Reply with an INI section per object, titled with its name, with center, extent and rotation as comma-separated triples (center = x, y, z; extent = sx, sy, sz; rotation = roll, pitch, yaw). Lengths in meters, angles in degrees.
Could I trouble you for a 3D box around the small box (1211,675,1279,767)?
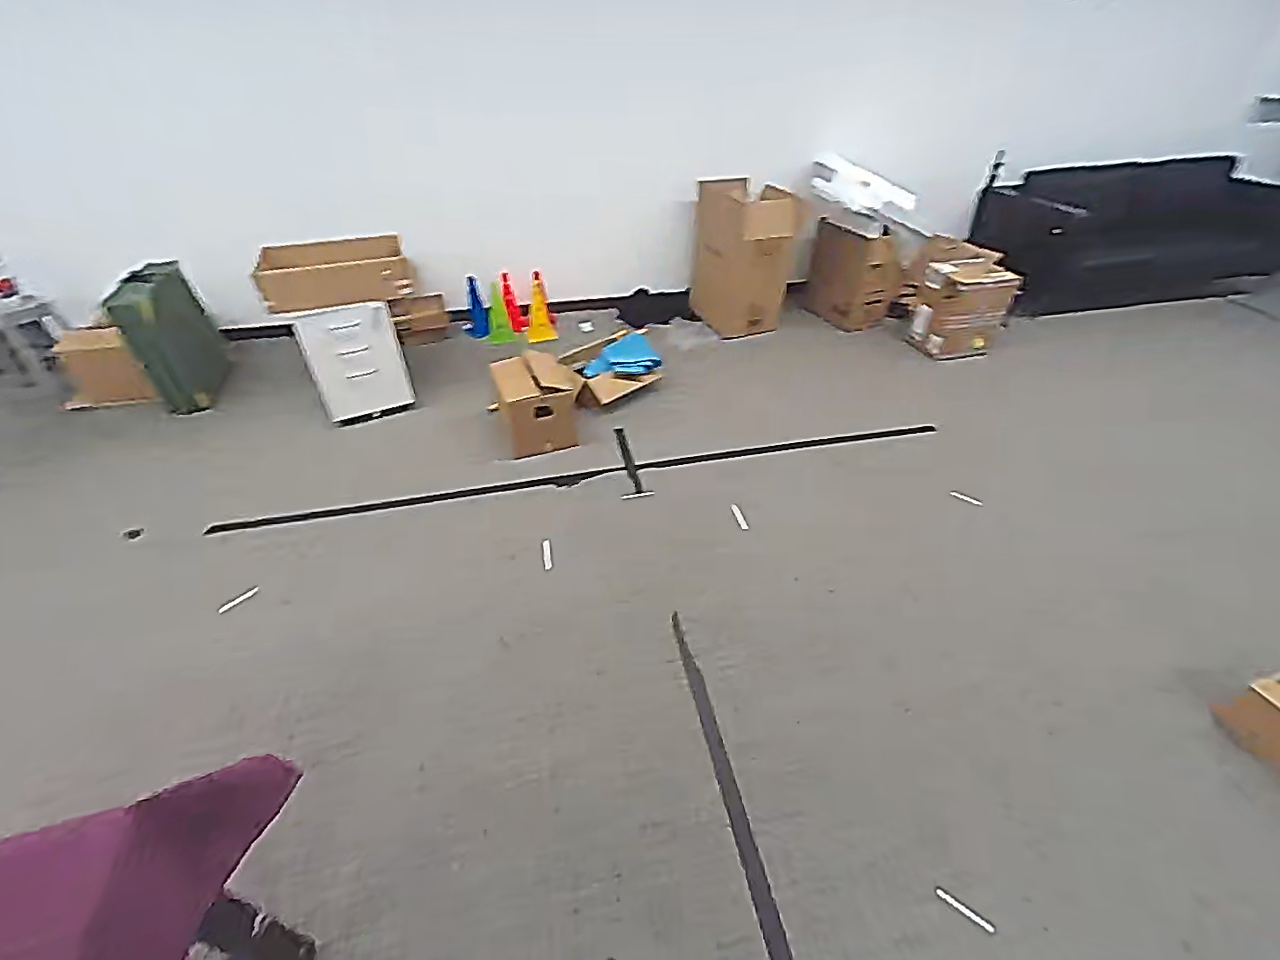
[small box]
center = 1.786, 0.672, 1.504
extent = 0.168, 0.176, 0.179
rotation = -9, 40, -11
